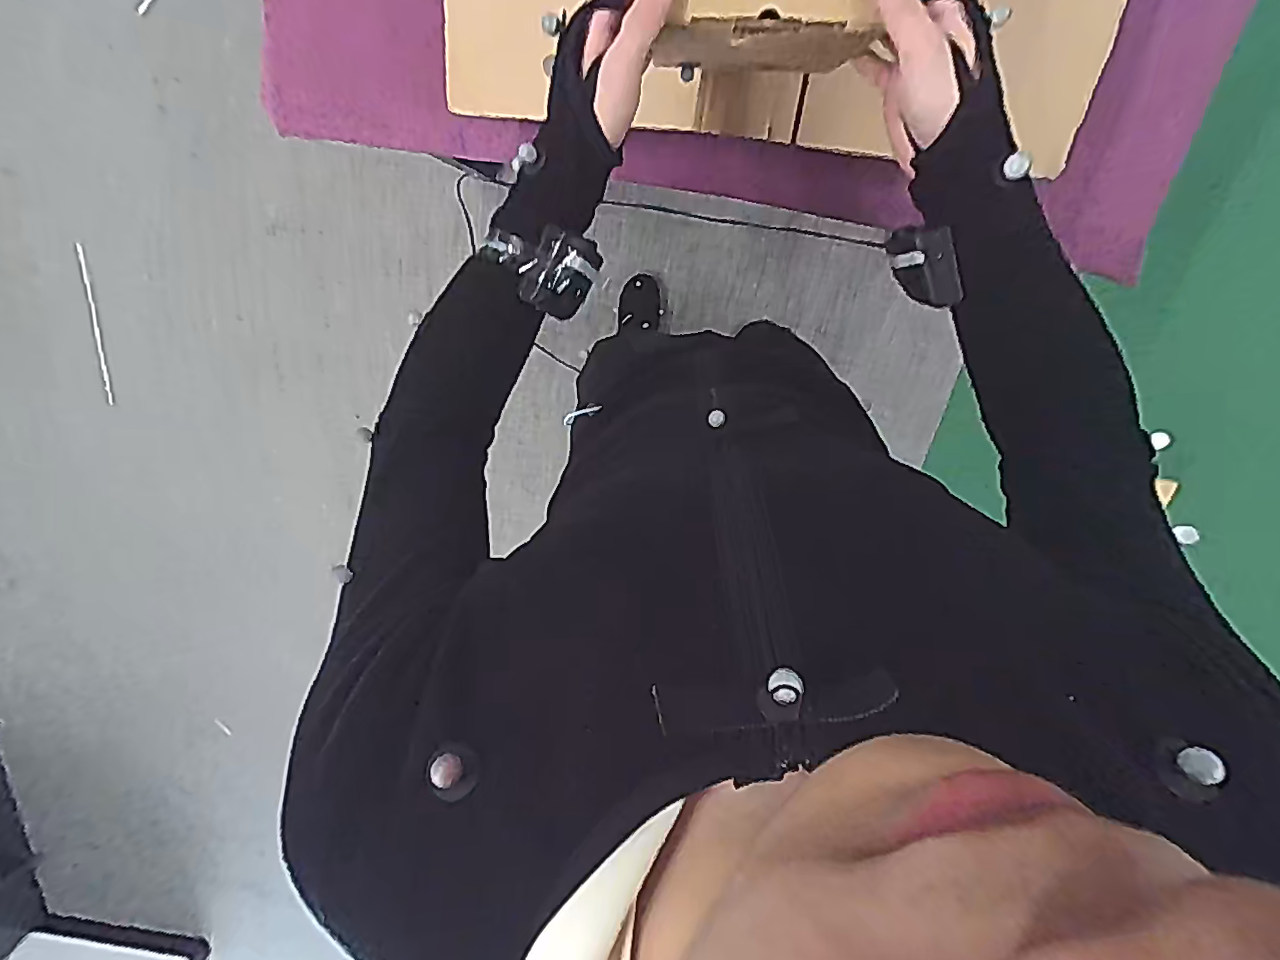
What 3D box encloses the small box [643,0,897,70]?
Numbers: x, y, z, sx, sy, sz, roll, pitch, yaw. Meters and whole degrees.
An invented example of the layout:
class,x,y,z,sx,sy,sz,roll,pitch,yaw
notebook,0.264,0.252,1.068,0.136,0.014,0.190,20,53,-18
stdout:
class,x,y,z,sx,sy,sz,roll,pitch,yaw
small box,0.093,-0.413,0.383,0.168,0.176,0.179,4,118,2
